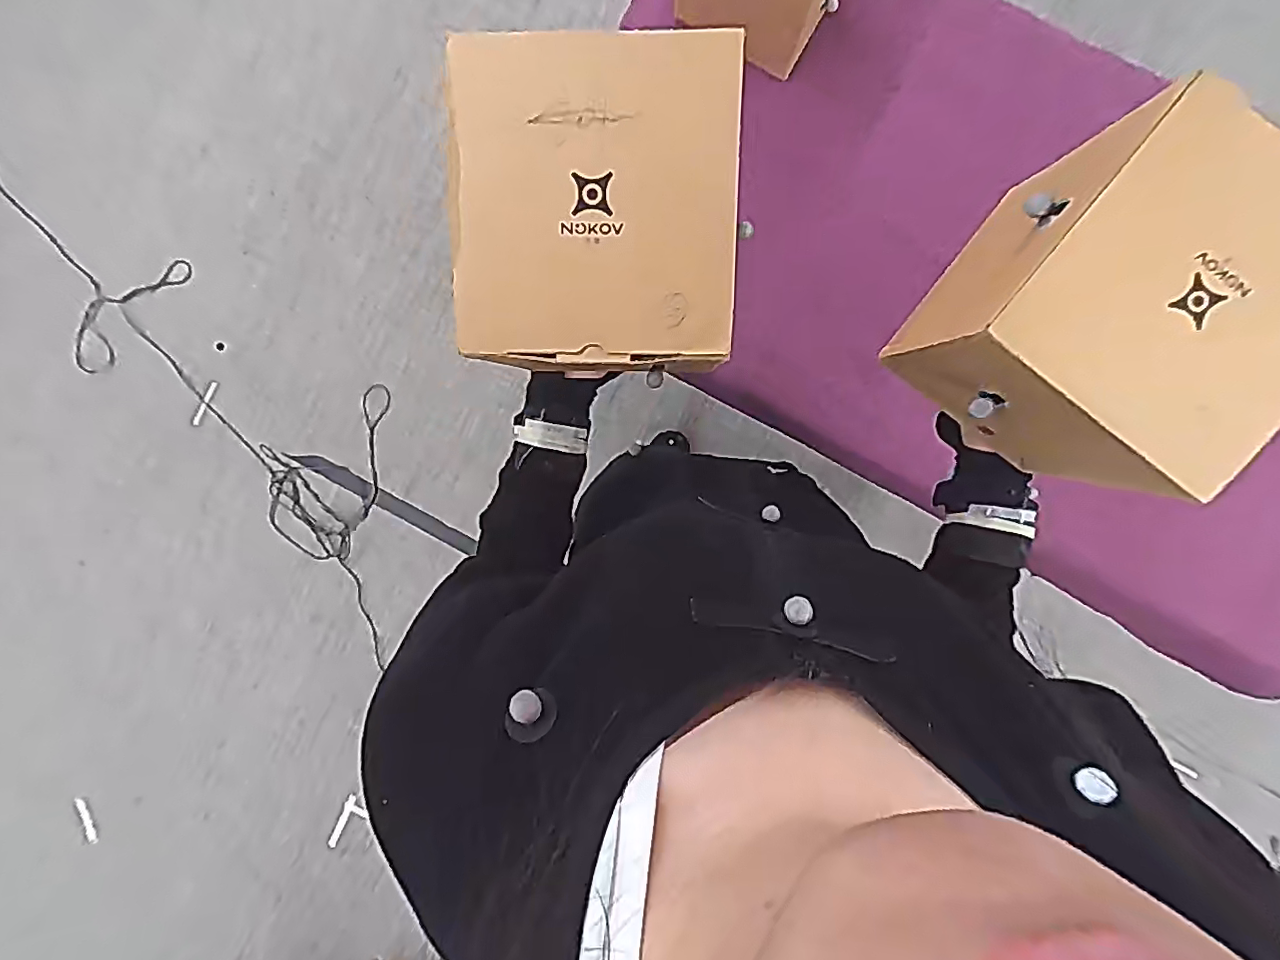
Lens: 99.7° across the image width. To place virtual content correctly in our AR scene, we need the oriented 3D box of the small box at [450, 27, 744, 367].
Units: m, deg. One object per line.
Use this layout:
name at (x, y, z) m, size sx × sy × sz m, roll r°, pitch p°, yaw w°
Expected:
small box at (-0.022, -0.173, 0.388) m, size 0.168 × 0.176 × 0.179 m, roll 0°, pitch 98°, yaw 1°

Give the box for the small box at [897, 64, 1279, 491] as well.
small box at (0.315, -0.116, 0.381) m, size 0.168 × 0.176 × 0.179 m, roll 37°, pitch 97°, yaw -2°

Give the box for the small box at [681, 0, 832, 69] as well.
small box at (0.160, -0.648, 0.642) m, size 0.179 × 0.176 × 0.168 m, roll 30°, pitch 96°, yaw -1°
